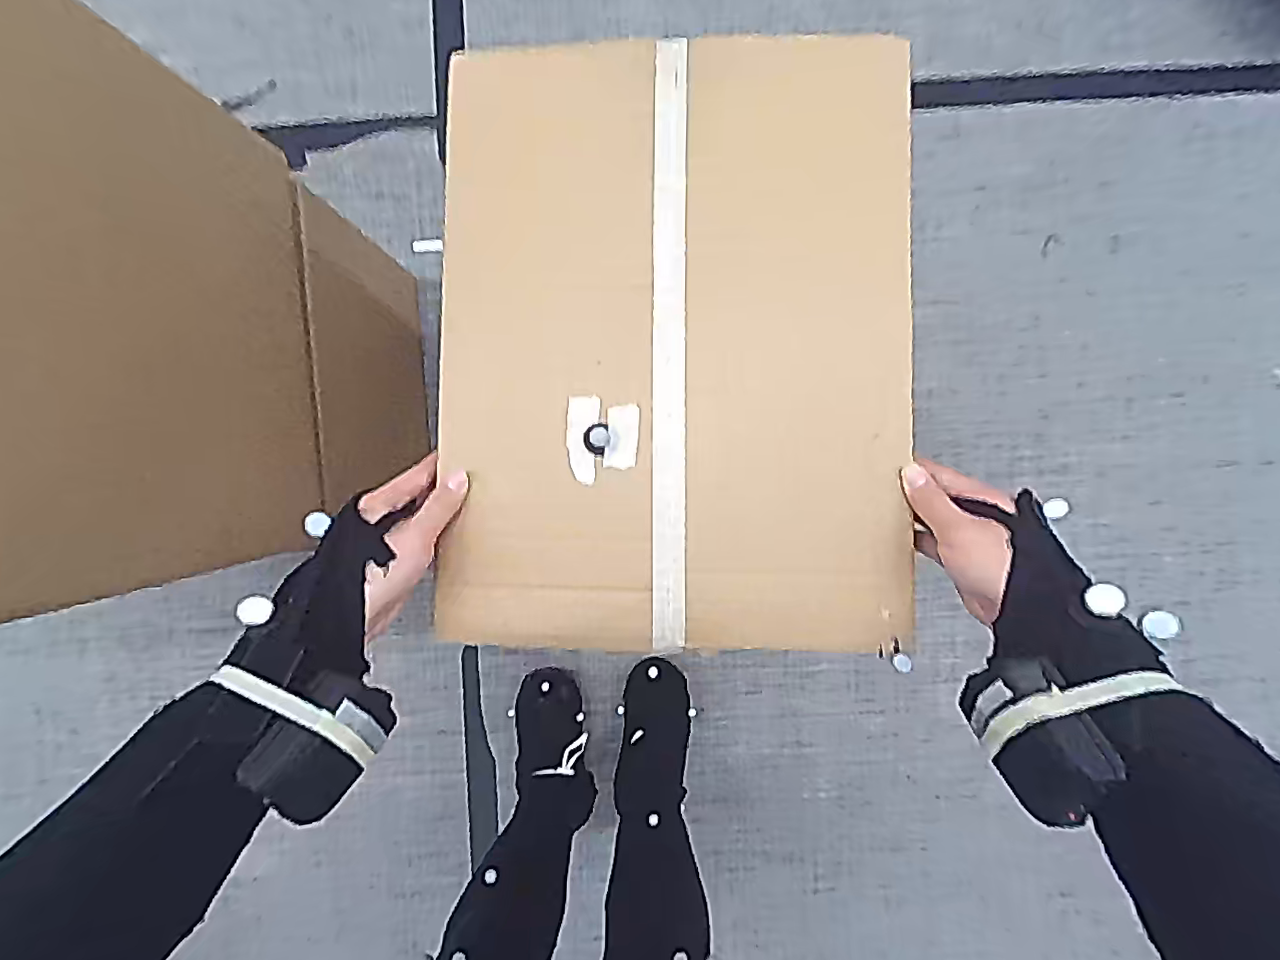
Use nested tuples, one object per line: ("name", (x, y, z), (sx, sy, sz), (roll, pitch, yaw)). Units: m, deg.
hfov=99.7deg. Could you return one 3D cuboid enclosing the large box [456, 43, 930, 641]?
("large box", (0.036, -0.089, 0.508), (0.320, 0.320, 0.408), (0, 87, 4))
